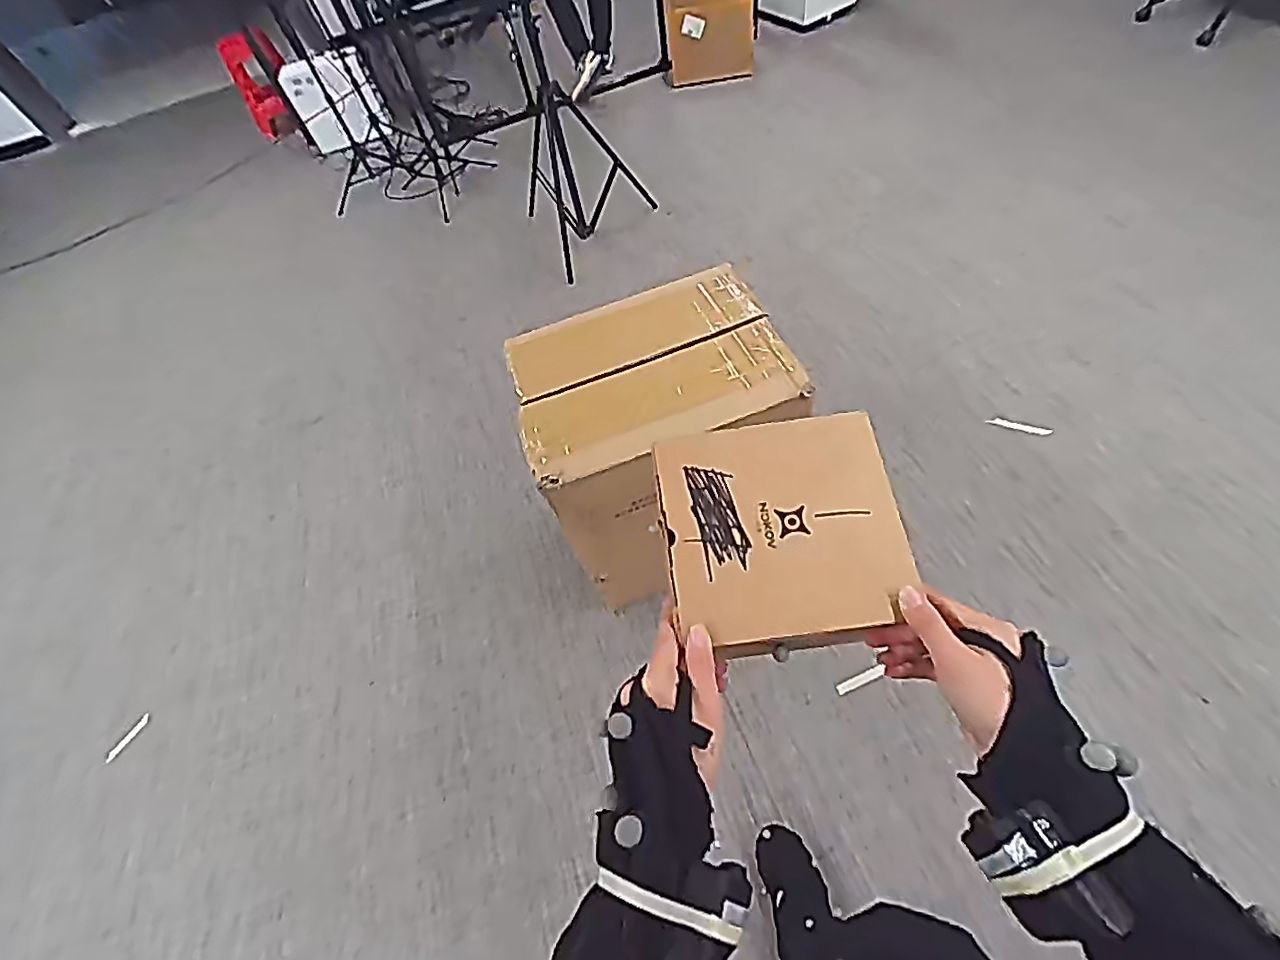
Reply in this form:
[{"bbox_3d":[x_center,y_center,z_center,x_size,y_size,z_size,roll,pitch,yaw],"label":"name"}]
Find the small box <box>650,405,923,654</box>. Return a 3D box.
[{"bbox_3d":[0.109,0.056,0.480,0.179,0.176,0.168,-8,68,1],"label":"small box"}]
